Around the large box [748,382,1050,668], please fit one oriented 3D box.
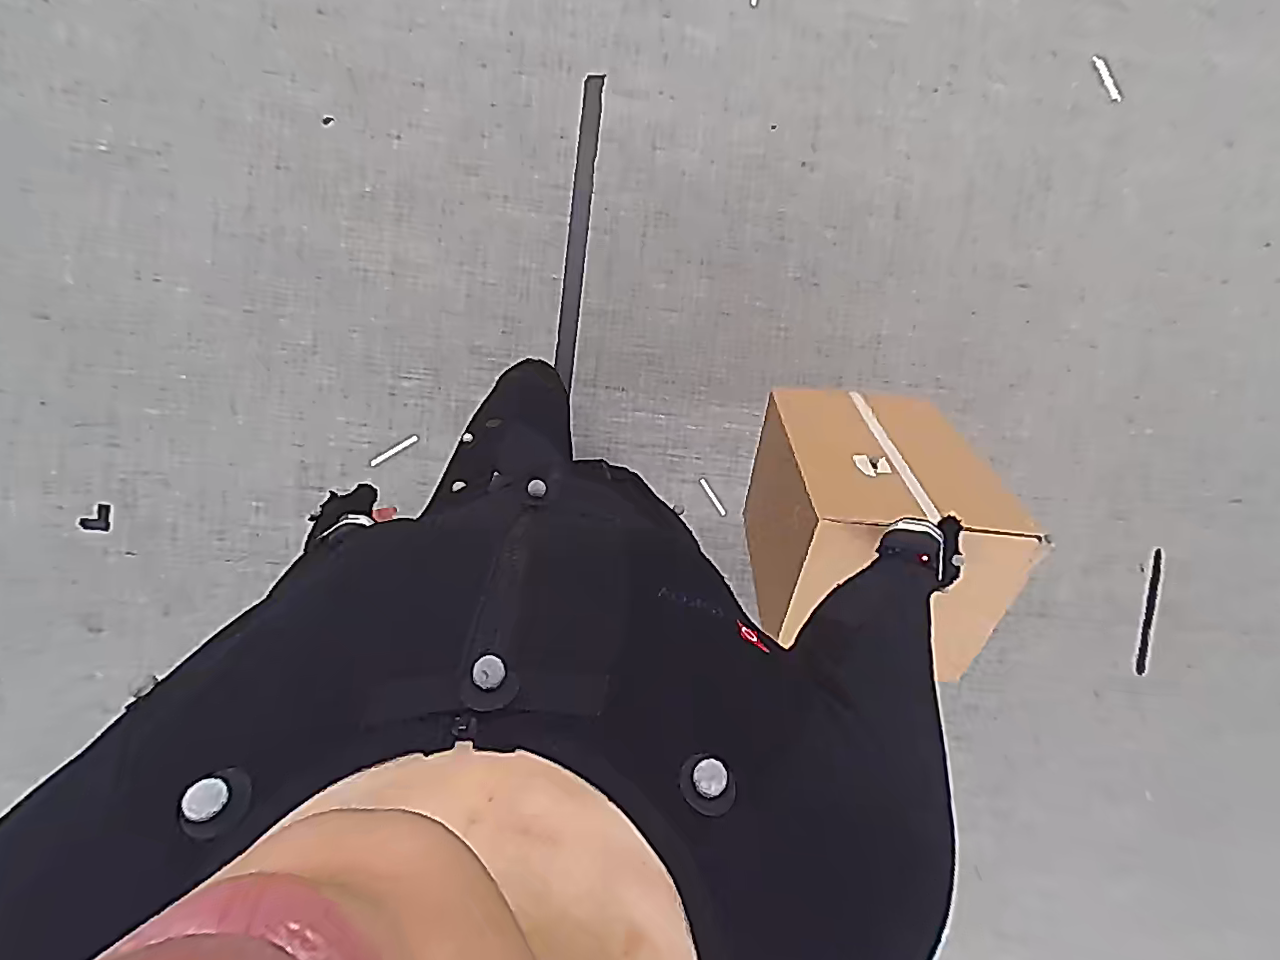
[{"bbox_3d":[0.395,0.064,0.968,0.320,0.408,0.320,5,128,0],"label":"large box"}]
